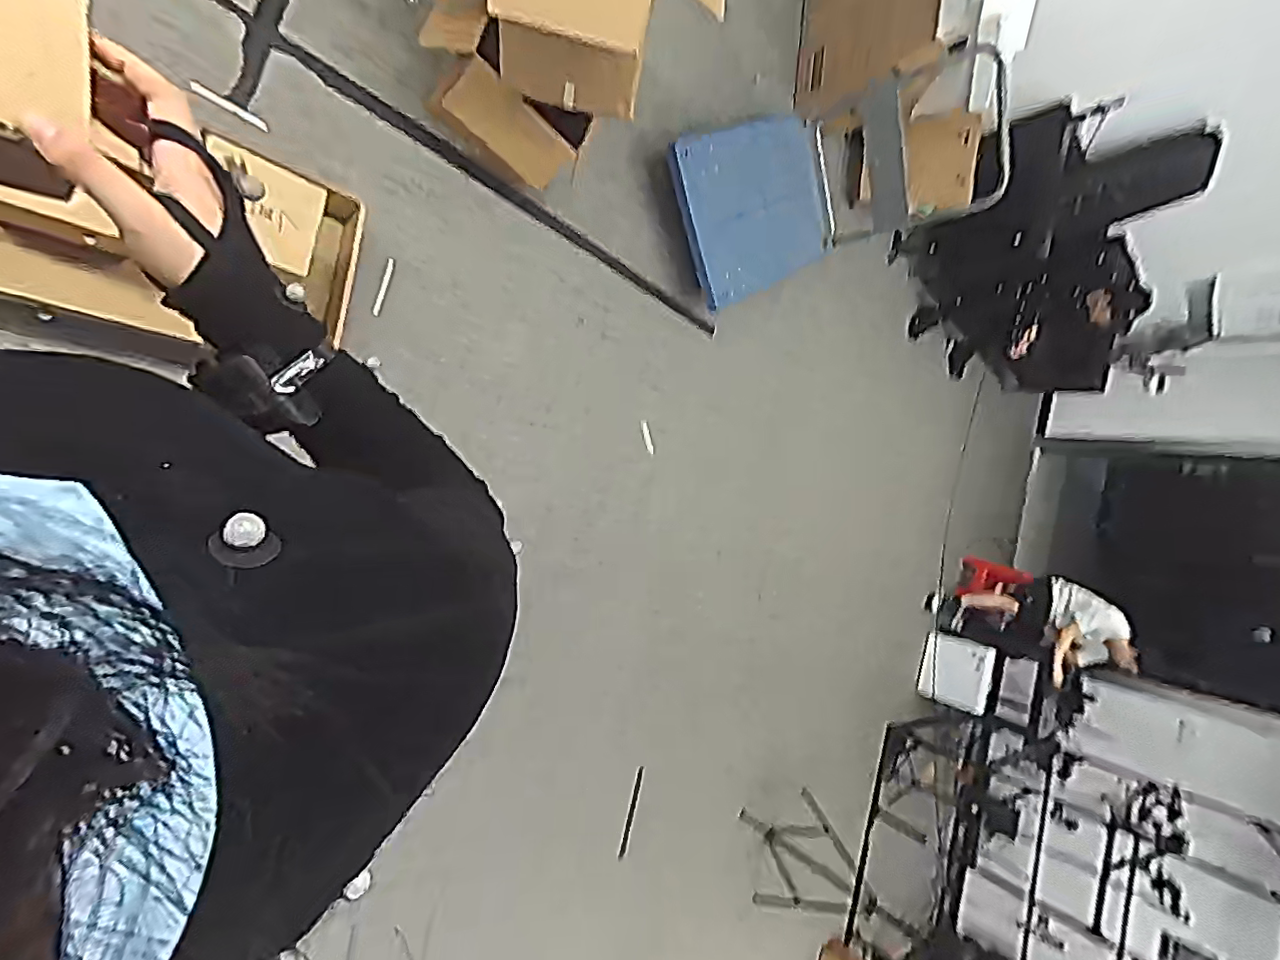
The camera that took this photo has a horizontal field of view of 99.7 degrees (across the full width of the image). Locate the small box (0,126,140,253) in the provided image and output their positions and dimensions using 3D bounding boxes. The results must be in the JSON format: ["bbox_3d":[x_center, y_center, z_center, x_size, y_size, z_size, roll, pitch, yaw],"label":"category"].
[{"bbox_3d":[-0.993,-0.512,0.930,0.179,0.176,0.168,11,87,-43],"label":"small box"}]

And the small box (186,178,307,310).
[{"bbox_3d":[-0.807,-0.469,1.105,0.168,0.176,0.179,13,87,-41],"label":"small box"}]

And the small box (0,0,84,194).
[{"bbox_3d":[-0.403,-0.270,0.271,0.168,0.176,0.179,-3,101,-50],"label":"small box"}]
